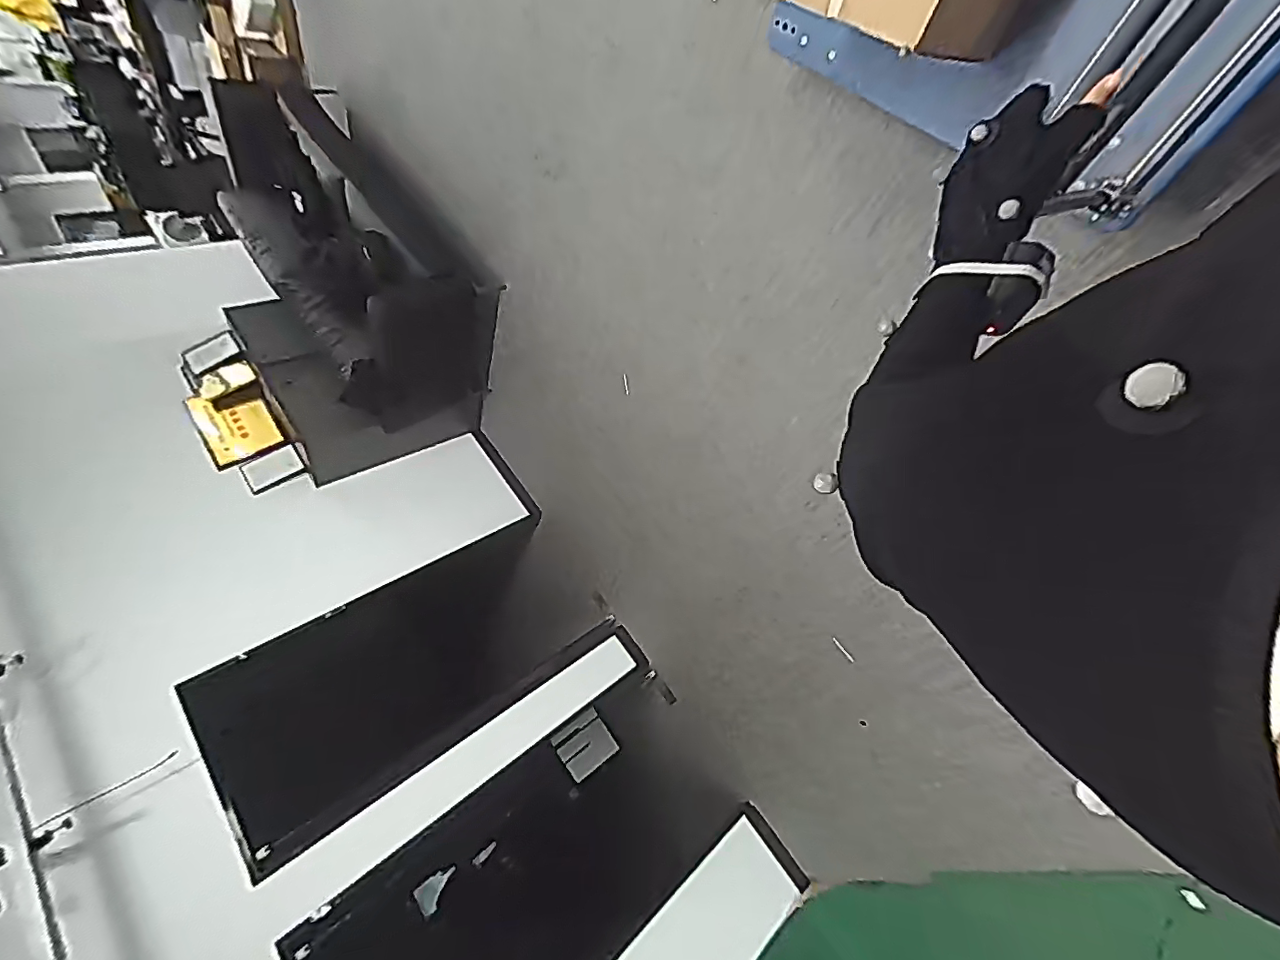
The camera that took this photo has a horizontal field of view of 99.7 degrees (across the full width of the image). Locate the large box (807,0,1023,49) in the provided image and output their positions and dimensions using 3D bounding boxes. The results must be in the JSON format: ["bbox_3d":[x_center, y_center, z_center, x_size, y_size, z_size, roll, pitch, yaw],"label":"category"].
[{"bbox_3d":[0.477,-0.944,0.810,0.320,0.320,0.408,47,144,24],"label":"large box"}]
